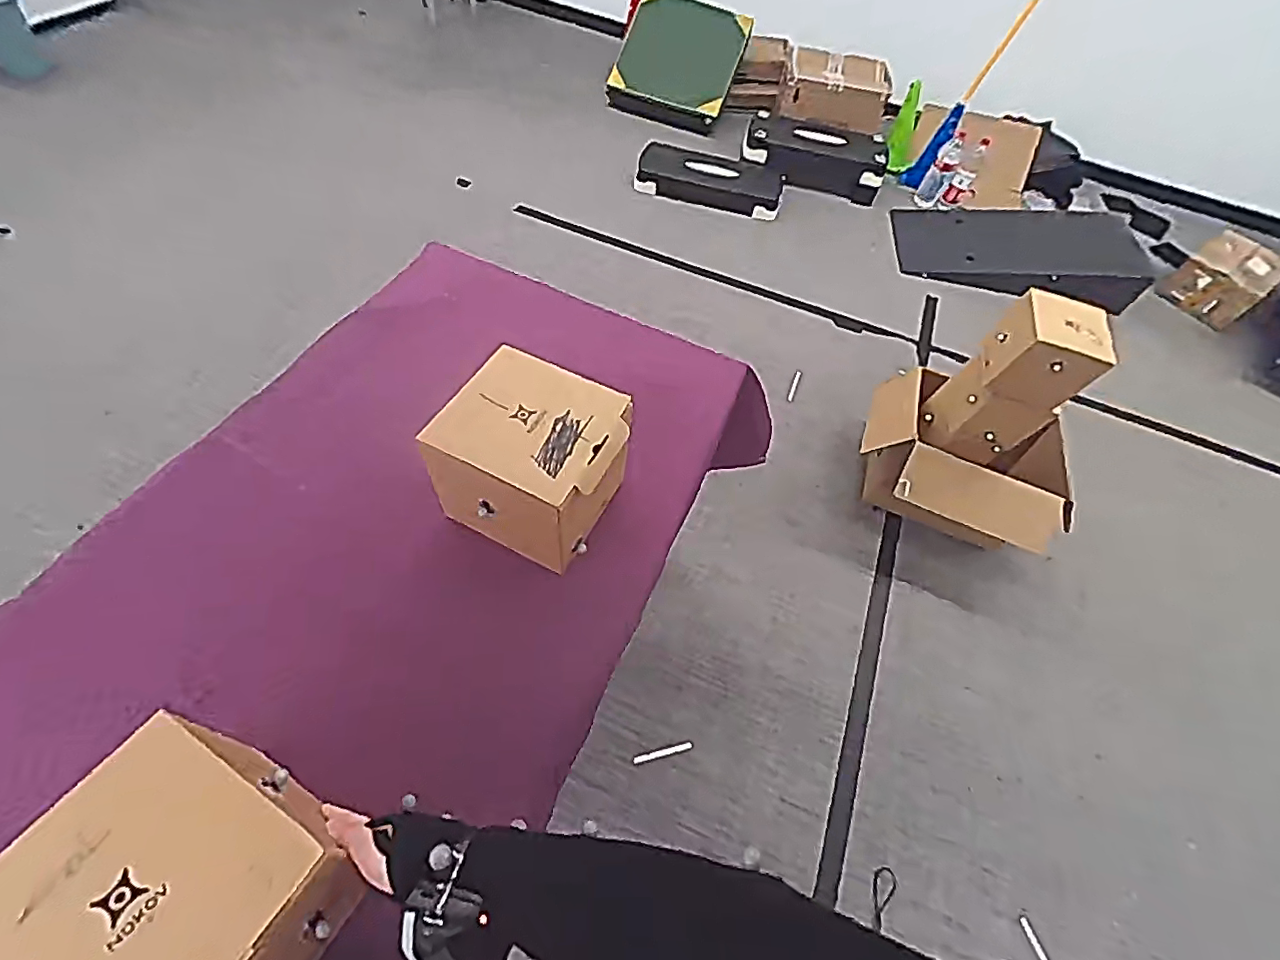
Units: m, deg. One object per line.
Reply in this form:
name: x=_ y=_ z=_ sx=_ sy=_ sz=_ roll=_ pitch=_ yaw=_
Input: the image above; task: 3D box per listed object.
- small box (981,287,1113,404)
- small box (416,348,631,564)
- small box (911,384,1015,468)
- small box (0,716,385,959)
small box: x=0.903 y=-0.297 z=1.223 sx=0.179 sy=0.176 sz=0.168 roll=18 pitch=61 yaw=0
small box: x=-0.129 y=-0.020 z=0.654 sx=0.179 sy=0.176 sz=0.168 roll=25 pitch=58 yaw=10
small box: x=0.891 y=-0.147 z=1.517 sx=0.179 sy=0.176 sz=0.168 roll=6 pitch=61 yaw=-7
small box: x=-0.329 y=0.314 z=0.408 sx=0.179 sy=0.176 sz=0.168 roll=28 pitch=54 yaw=13
